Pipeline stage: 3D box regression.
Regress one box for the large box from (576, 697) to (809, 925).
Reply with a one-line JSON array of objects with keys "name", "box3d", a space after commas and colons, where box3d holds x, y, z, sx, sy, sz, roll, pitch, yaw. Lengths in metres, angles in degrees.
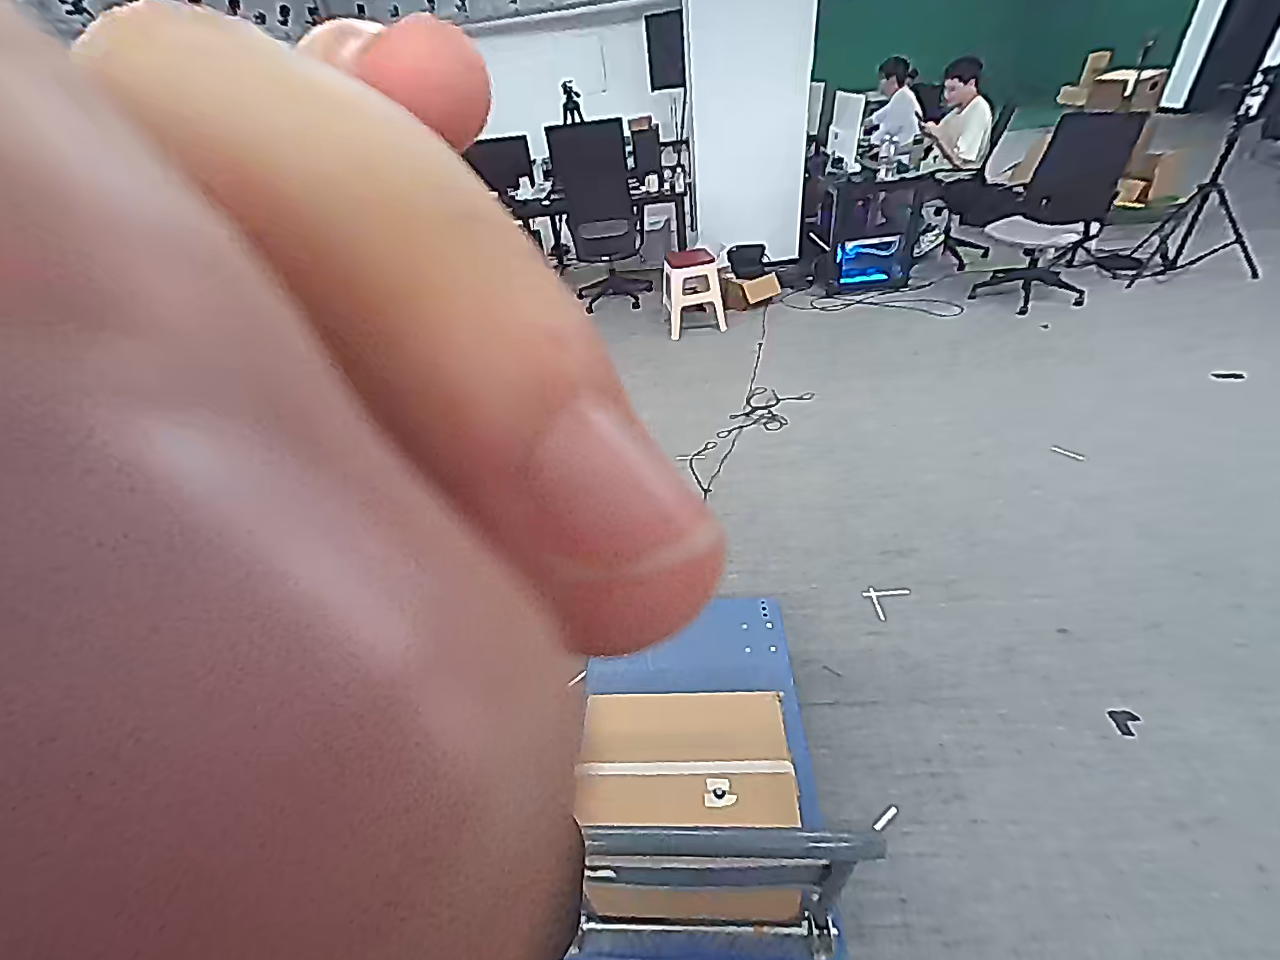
[{"name": "large box", "box3d": [0.102, 0.680, 1.115, 0.408, 0.320, 0.320, -4, 38, 5]}]
